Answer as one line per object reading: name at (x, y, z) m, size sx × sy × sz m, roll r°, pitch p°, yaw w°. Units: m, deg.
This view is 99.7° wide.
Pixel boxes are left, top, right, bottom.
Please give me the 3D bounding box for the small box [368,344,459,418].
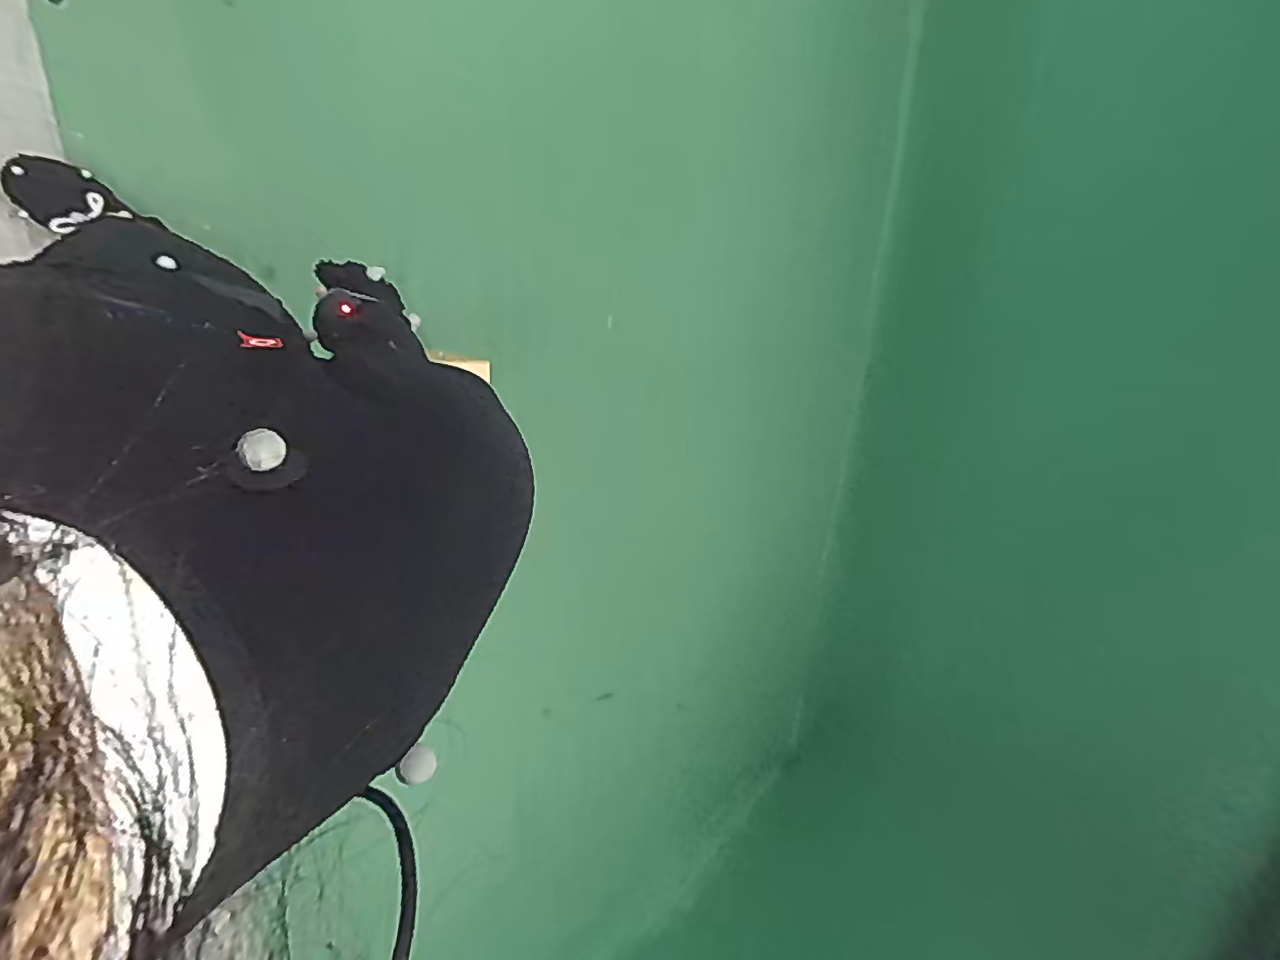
small box at (-0.585, -0.254, 1.384) m, size 0.179 × 0.176 × 0.168 m, roll -6°, pitch 110°, yaw -42°
